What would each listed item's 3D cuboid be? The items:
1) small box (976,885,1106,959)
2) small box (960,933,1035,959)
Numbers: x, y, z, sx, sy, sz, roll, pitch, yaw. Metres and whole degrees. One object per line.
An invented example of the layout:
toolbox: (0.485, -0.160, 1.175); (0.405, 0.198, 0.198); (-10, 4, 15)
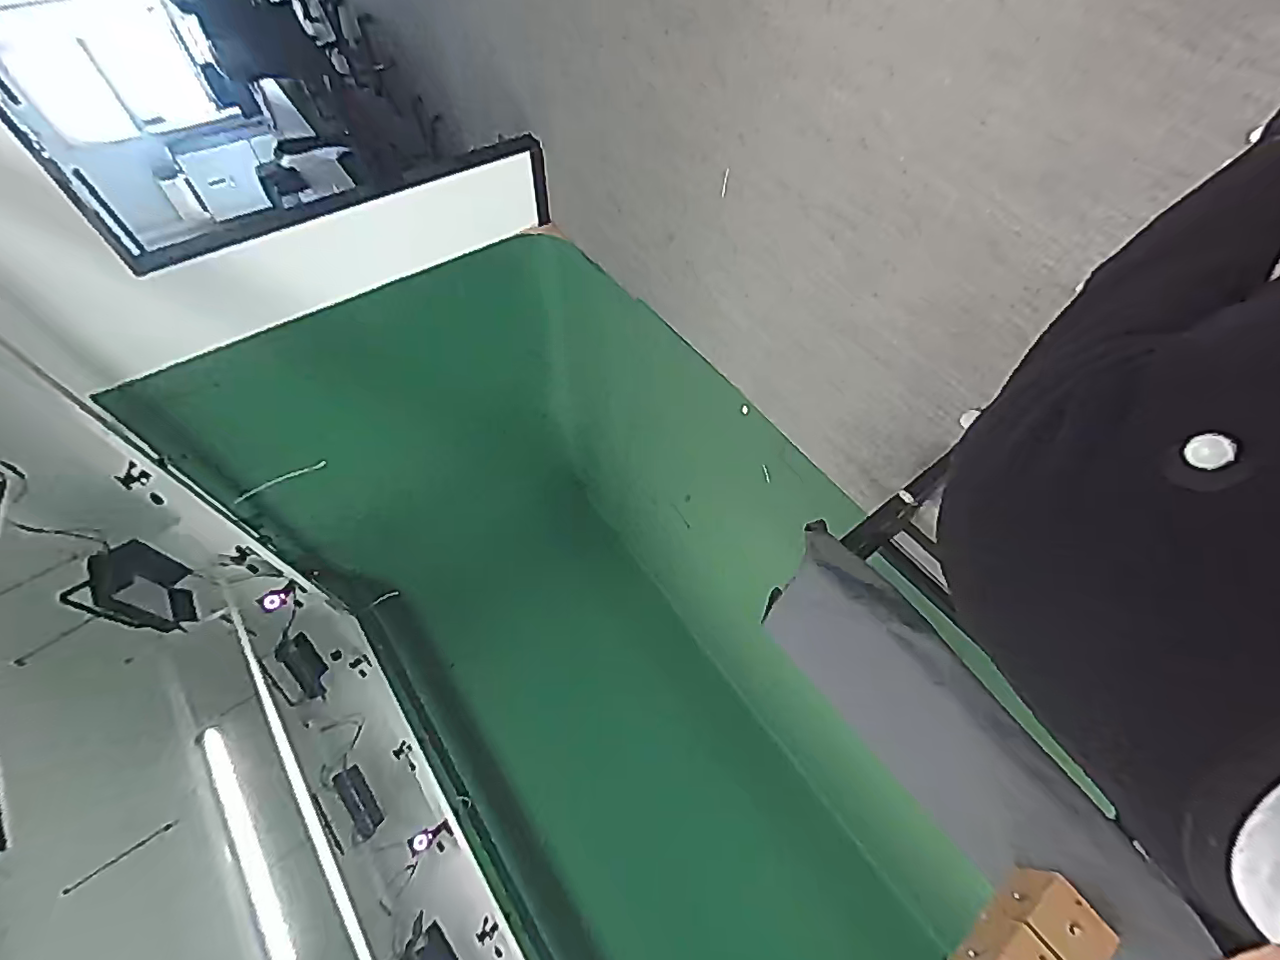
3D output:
small box: (0.989, 1.140, 1.330); (0.168, 0.176, 0.179); (51, 157, 24)
small box: (0.858, 1.208, 1.260); (0.168, 0.176, 0.179); (50, 158, 26)
